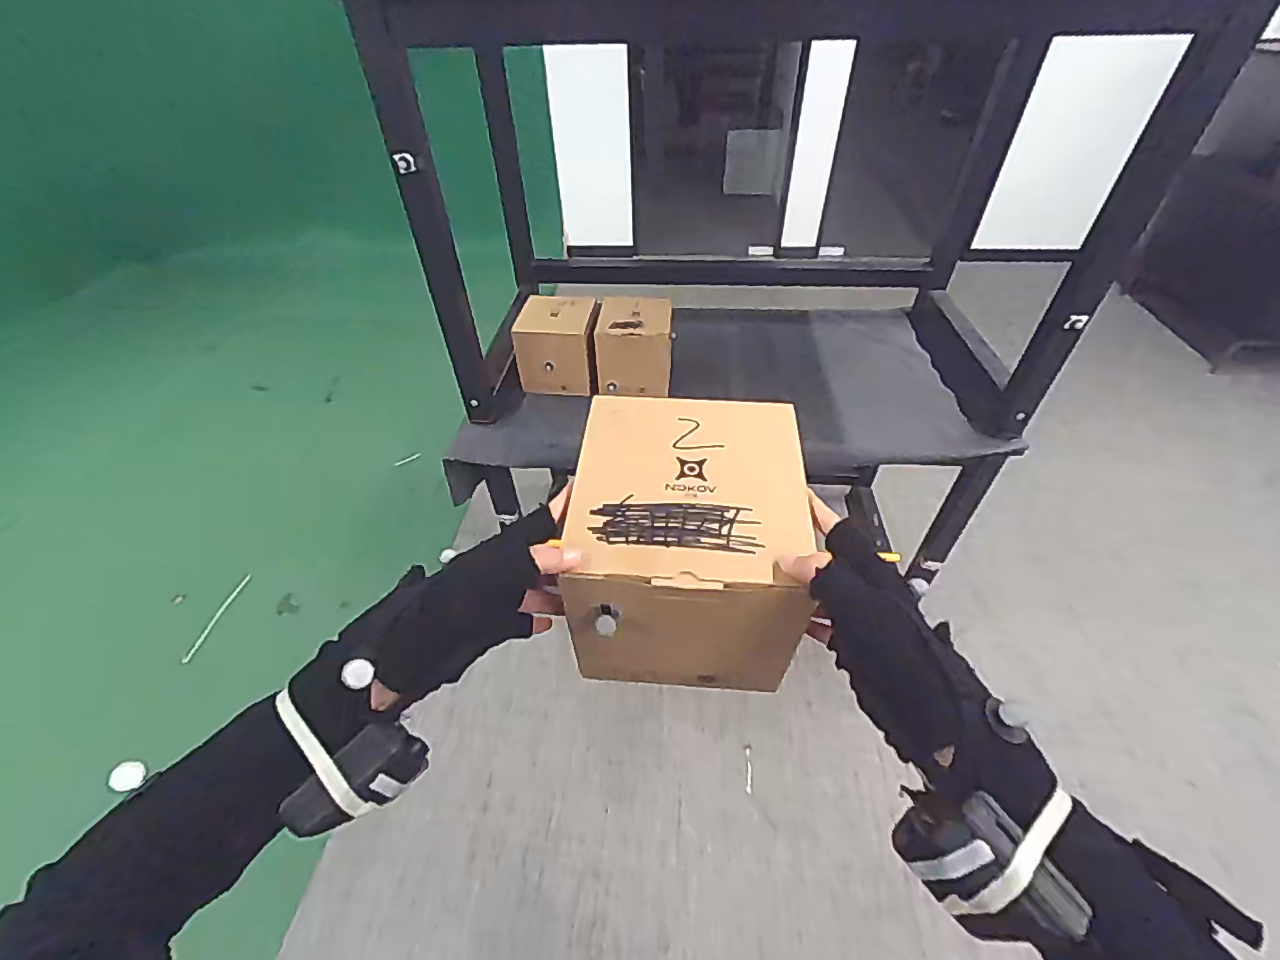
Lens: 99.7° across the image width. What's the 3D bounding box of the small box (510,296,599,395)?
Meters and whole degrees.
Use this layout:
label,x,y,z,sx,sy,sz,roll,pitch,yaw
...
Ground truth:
label,x,y,z,sx,sy,sz,roll,pitch,yaw
small box,-0.193,-0.319,1.289,0.168,0.176,0.179,5,44,5
